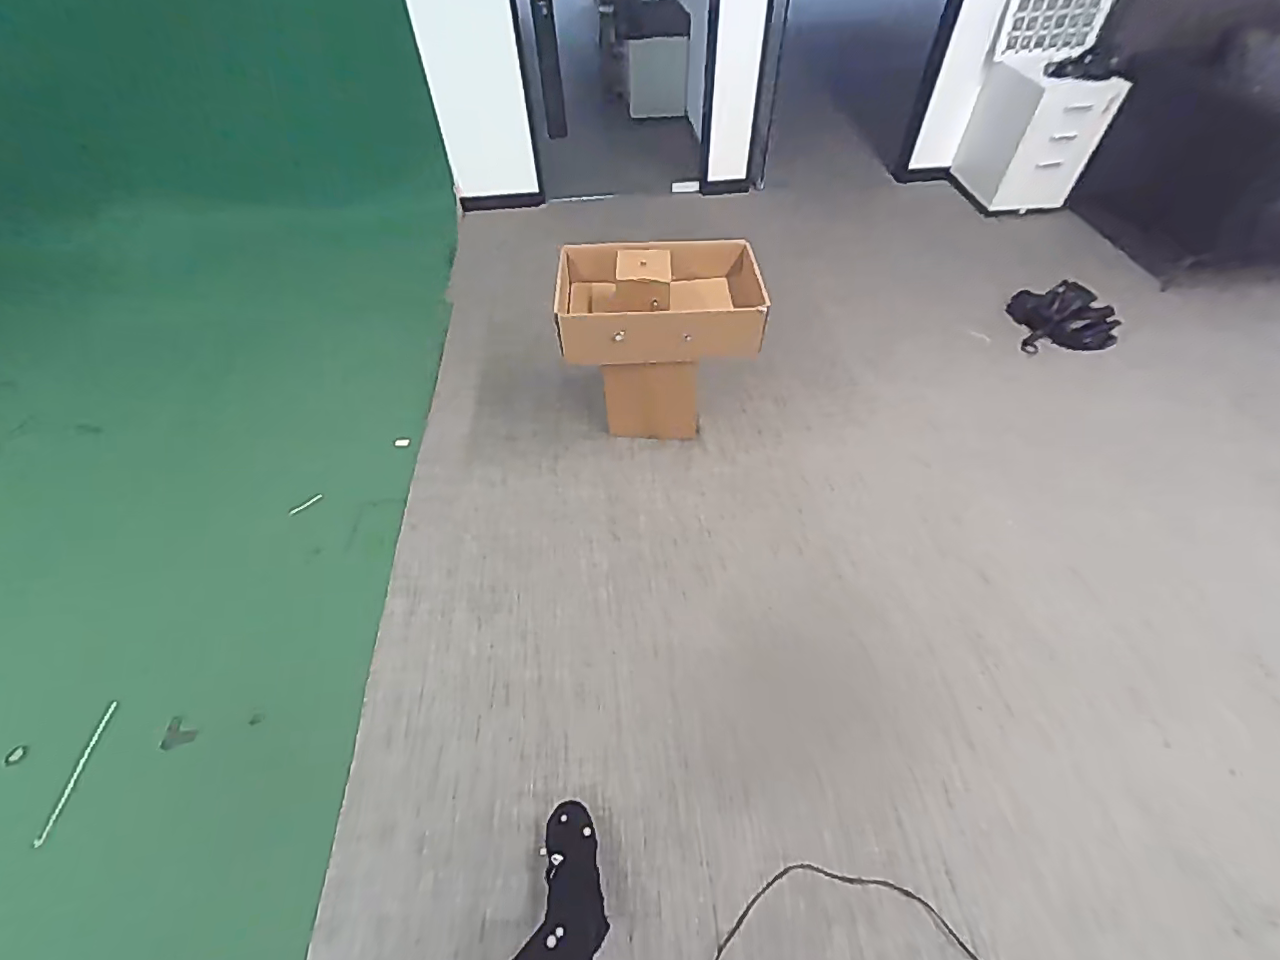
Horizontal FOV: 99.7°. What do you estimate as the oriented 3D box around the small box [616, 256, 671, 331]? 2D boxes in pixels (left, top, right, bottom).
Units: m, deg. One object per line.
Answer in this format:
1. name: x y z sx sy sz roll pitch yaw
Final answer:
1. small box: 0.011 -0.584 1.704 0.168 0.176 0.179 1 48 -1
